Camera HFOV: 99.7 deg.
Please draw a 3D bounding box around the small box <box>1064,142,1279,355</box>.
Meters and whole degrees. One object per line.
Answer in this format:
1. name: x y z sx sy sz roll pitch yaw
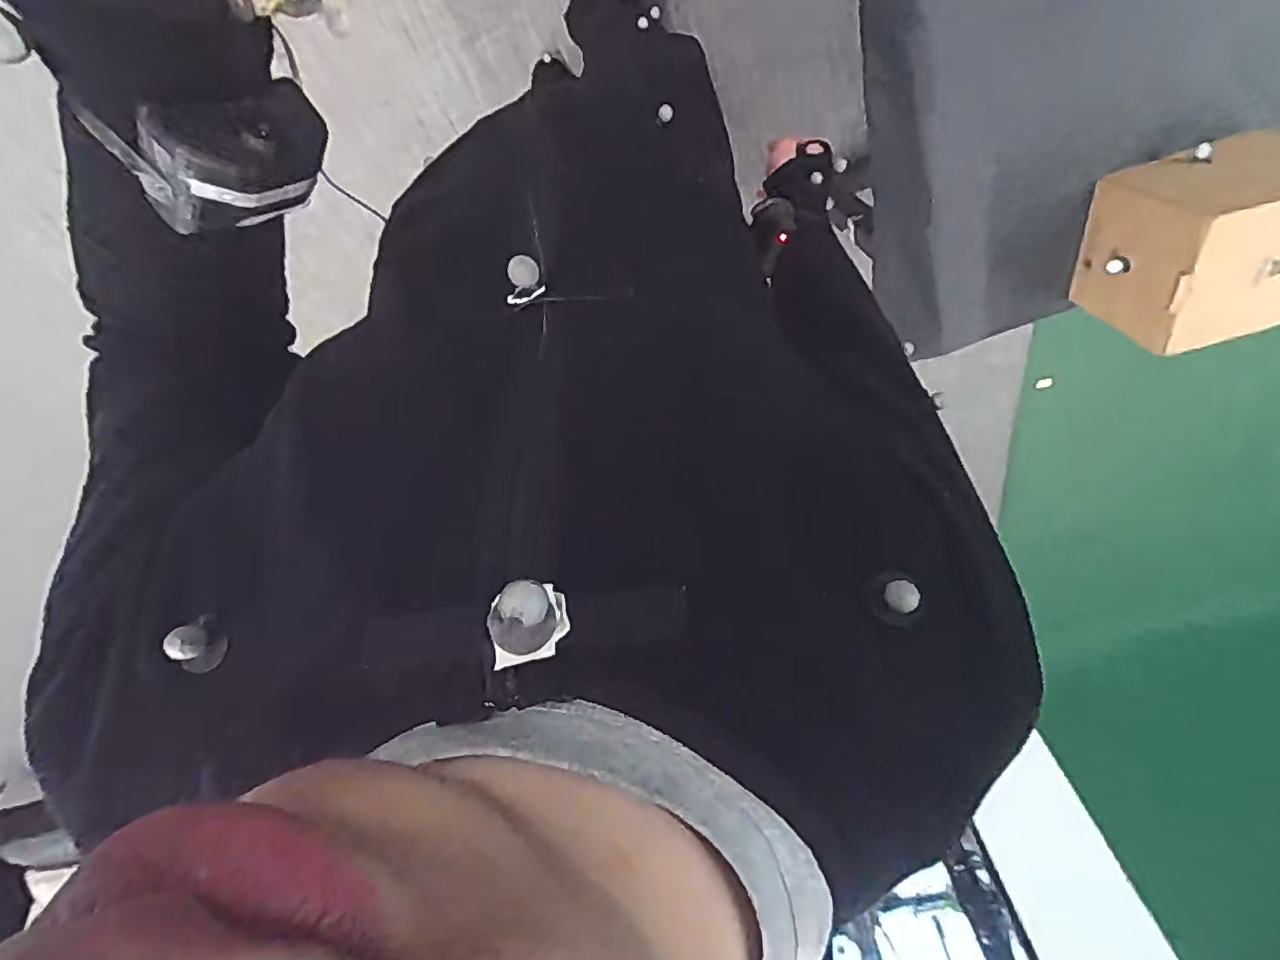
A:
1. small box: 0.672 -0.284 0.660 0.179 0.176 0.168 -15 131 8
